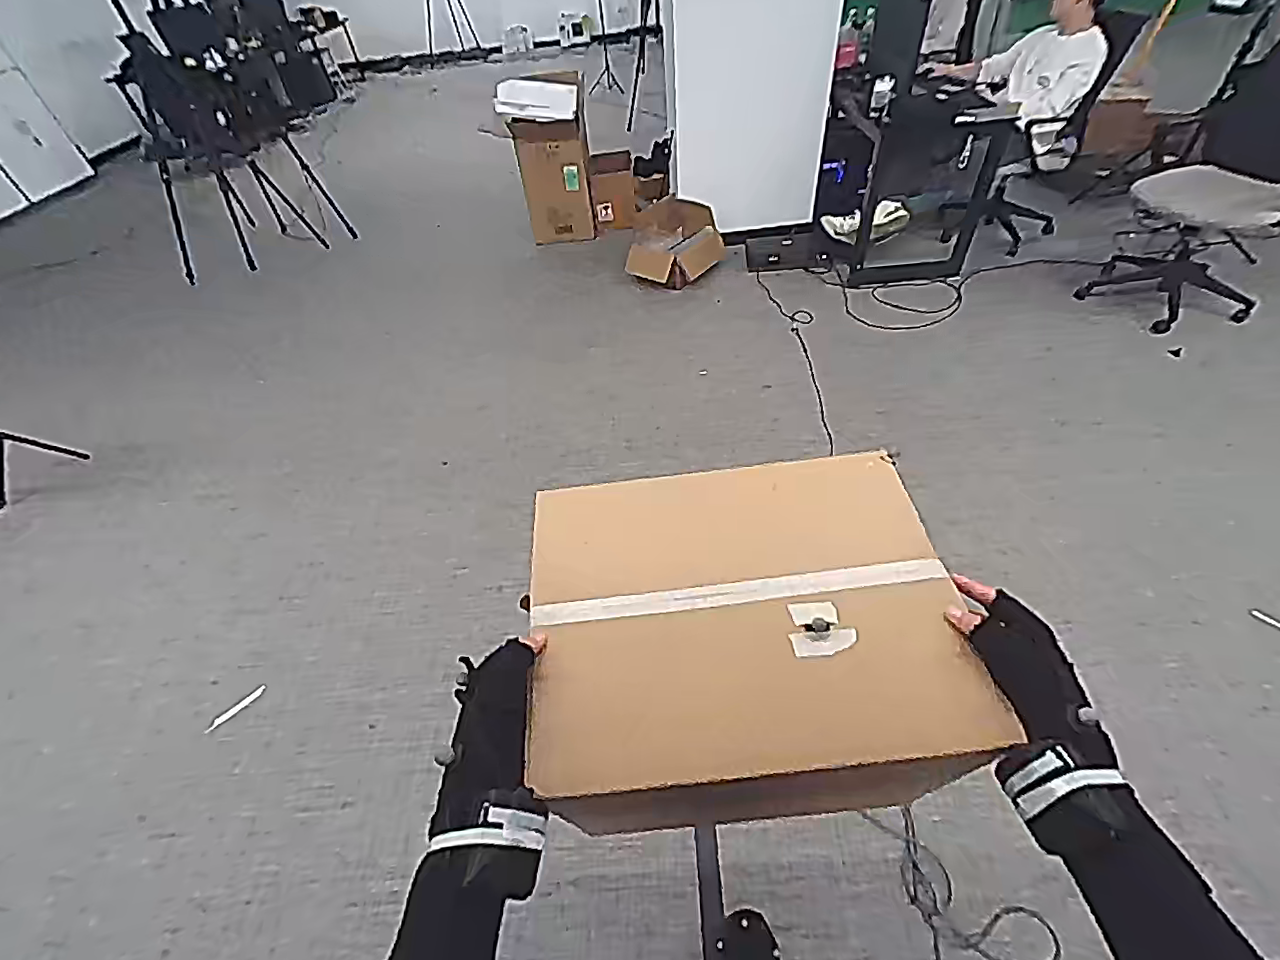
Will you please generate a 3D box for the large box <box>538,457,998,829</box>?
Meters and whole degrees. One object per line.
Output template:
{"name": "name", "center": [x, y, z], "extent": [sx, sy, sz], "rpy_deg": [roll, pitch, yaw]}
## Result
{"name": "large box", "center": [0.105, 0.209, 0.663], "extent": [0.408, 0.320, 0.320], "rpy_deg": [-7, 53, 0]}
